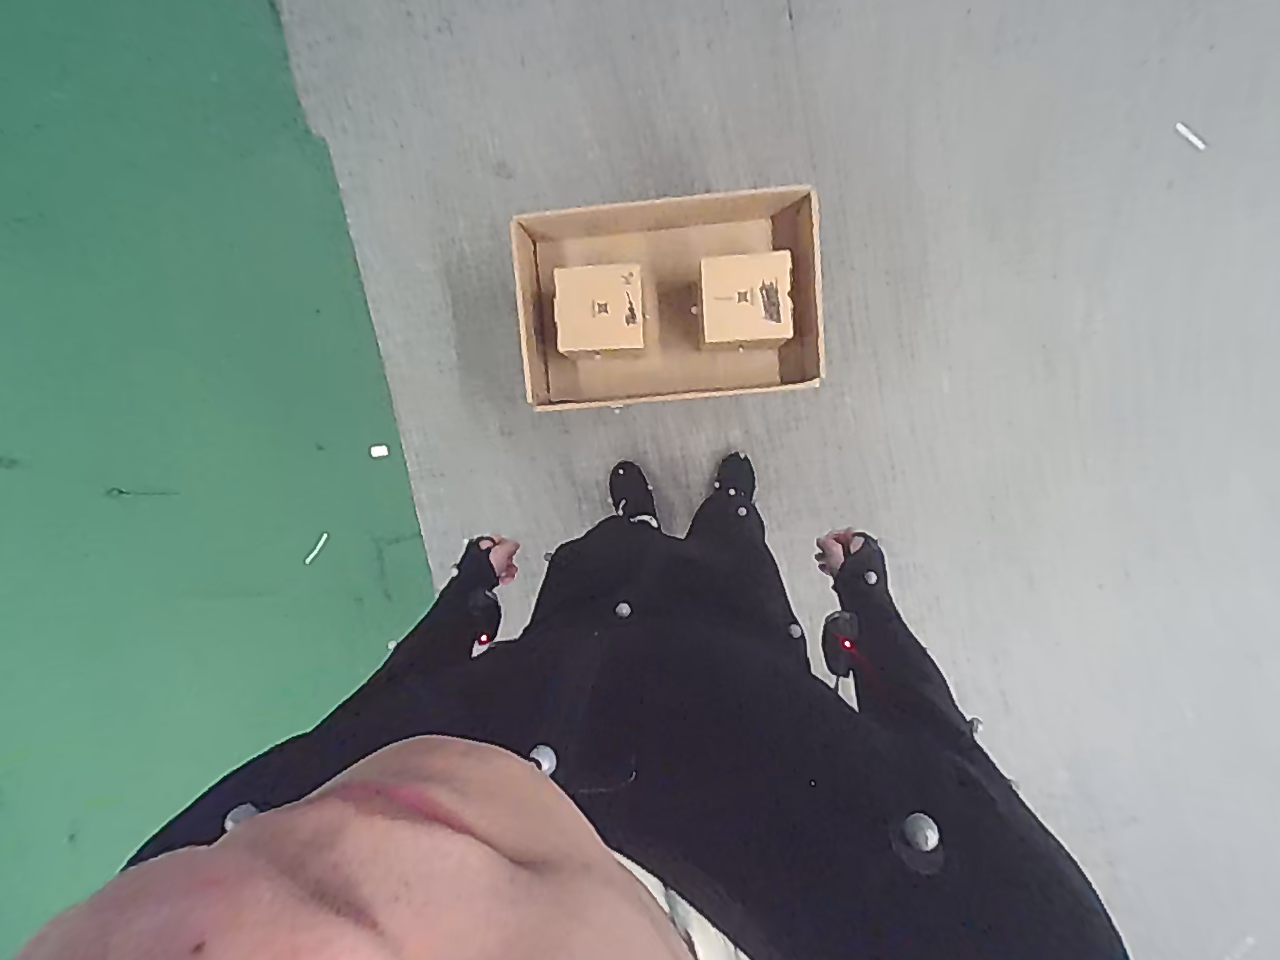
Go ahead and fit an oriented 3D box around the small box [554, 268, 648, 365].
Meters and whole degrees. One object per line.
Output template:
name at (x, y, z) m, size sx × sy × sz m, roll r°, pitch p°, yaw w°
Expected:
small box at (-0.077, -0.341, 1.156) m, size 0.179 × 0.176 × 0.168 m, roll -1°, pitch 95°, yaw 5°
